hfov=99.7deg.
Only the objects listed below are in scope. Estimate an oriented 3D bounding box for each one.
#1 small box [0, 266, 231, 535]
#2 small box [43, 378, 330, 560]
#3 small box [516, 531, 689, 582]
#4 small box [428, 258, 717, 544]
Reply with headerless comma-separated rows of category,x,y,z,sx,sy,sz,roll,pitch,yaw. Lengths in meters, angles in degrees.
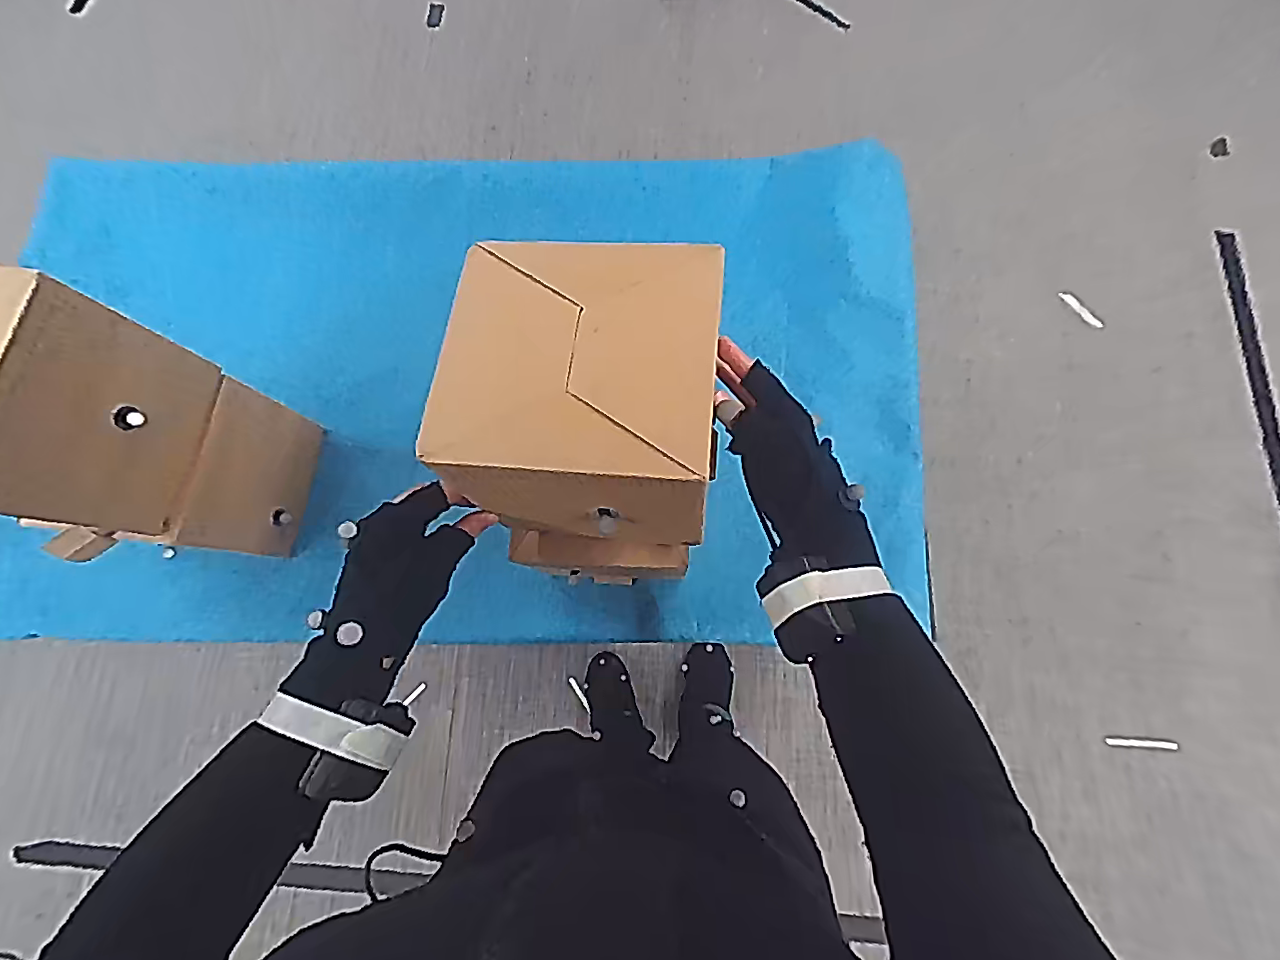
small box,-0.513,-0.061,0.459,0.168,0.176,0.179,10,79,5
small box,-0.500,-0.012,0.616,0.168,0.176,0.179,6,77,4
small box,-0.031,0.015,0.590,0.168,0.176,0.179,1,76,3
small box,-0.032,-0.051,0.420,0.179,0.176,0.168,4,71,8
